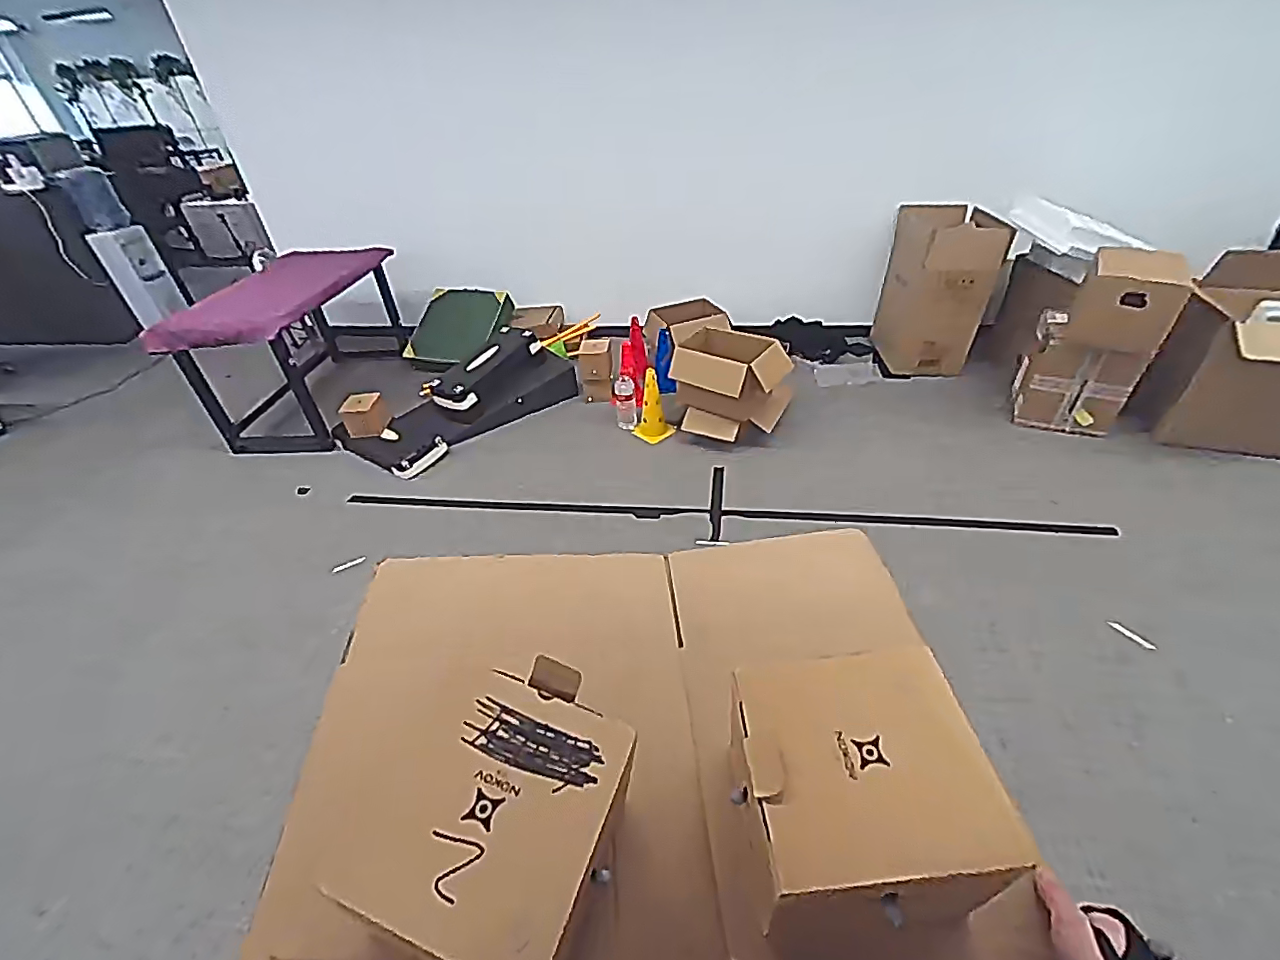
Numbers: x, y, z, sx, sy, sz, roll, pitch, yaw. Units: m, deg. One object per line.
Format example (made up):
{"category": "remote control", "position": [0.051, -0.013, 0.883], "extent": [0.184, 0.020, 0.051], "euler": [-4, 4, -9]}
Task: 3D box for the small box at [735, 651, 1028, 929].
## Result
{"category": "small box", "position": [0.186, 0.278, 0.485], "extent": [0.179, 0.176, 0.168], "euler": [-8, 42, 1]}
